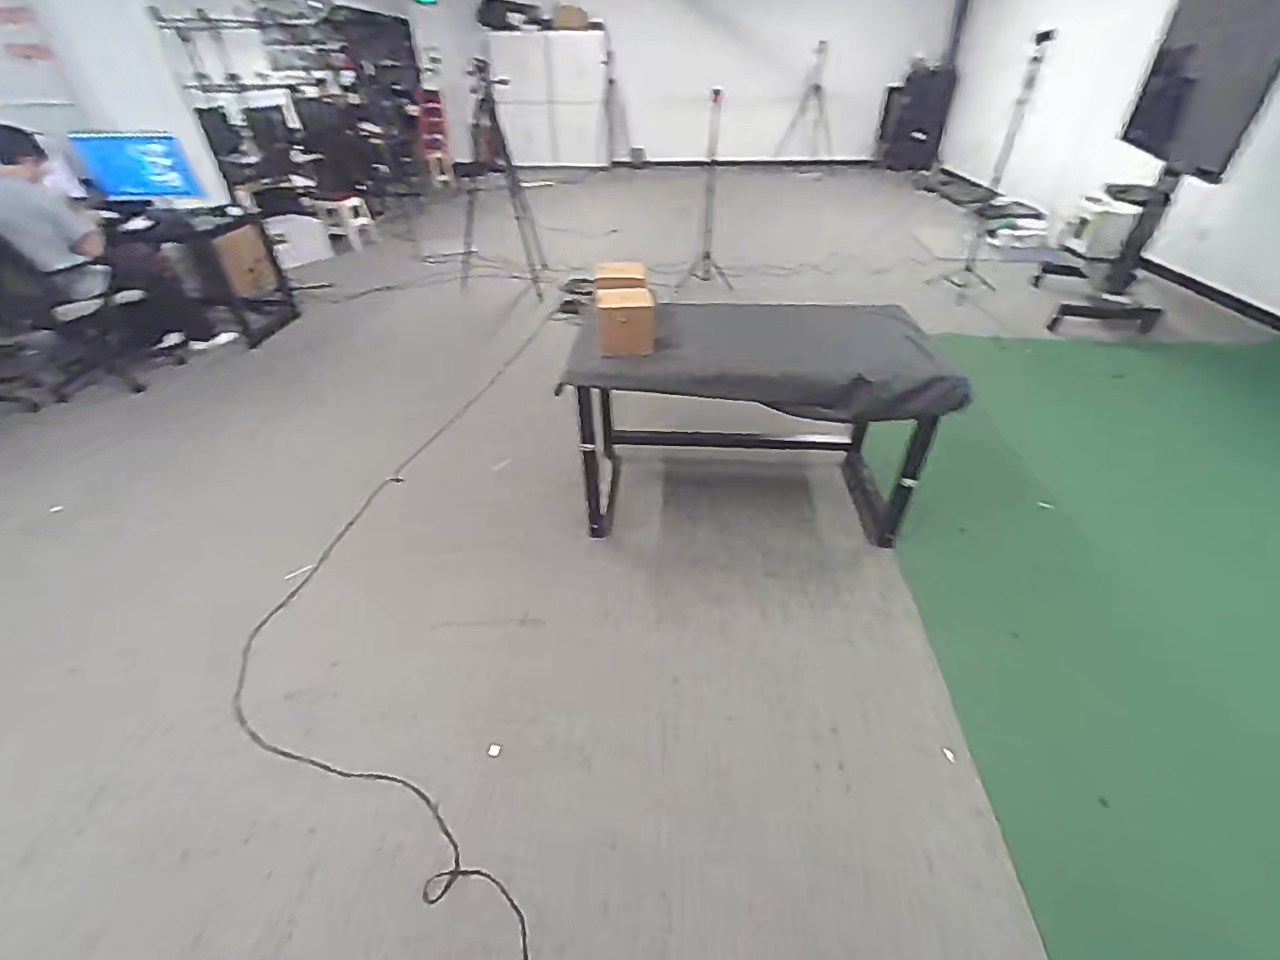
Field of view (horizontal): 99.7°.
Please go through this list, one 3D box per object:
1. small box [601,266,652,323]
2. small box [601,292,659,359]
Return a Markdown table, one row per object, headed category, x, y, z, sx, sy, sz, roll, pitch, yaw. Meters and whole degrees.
| category | x | y | z | sx | sy | sz | roll | pitch | yaw |
| --- | --- | --- | --- | --- | --- | --- | --- | --- | --- |
| small box | -0.047 | -0.677 | 2.001 | 0.179 | 0.176 | 0.168 | 2 | 38 | 3 |
| small box | -0.034 | -0.507 | 1.782 | 0.179 | 0.176 | 0.168 | -2 | 38 | -5 |
